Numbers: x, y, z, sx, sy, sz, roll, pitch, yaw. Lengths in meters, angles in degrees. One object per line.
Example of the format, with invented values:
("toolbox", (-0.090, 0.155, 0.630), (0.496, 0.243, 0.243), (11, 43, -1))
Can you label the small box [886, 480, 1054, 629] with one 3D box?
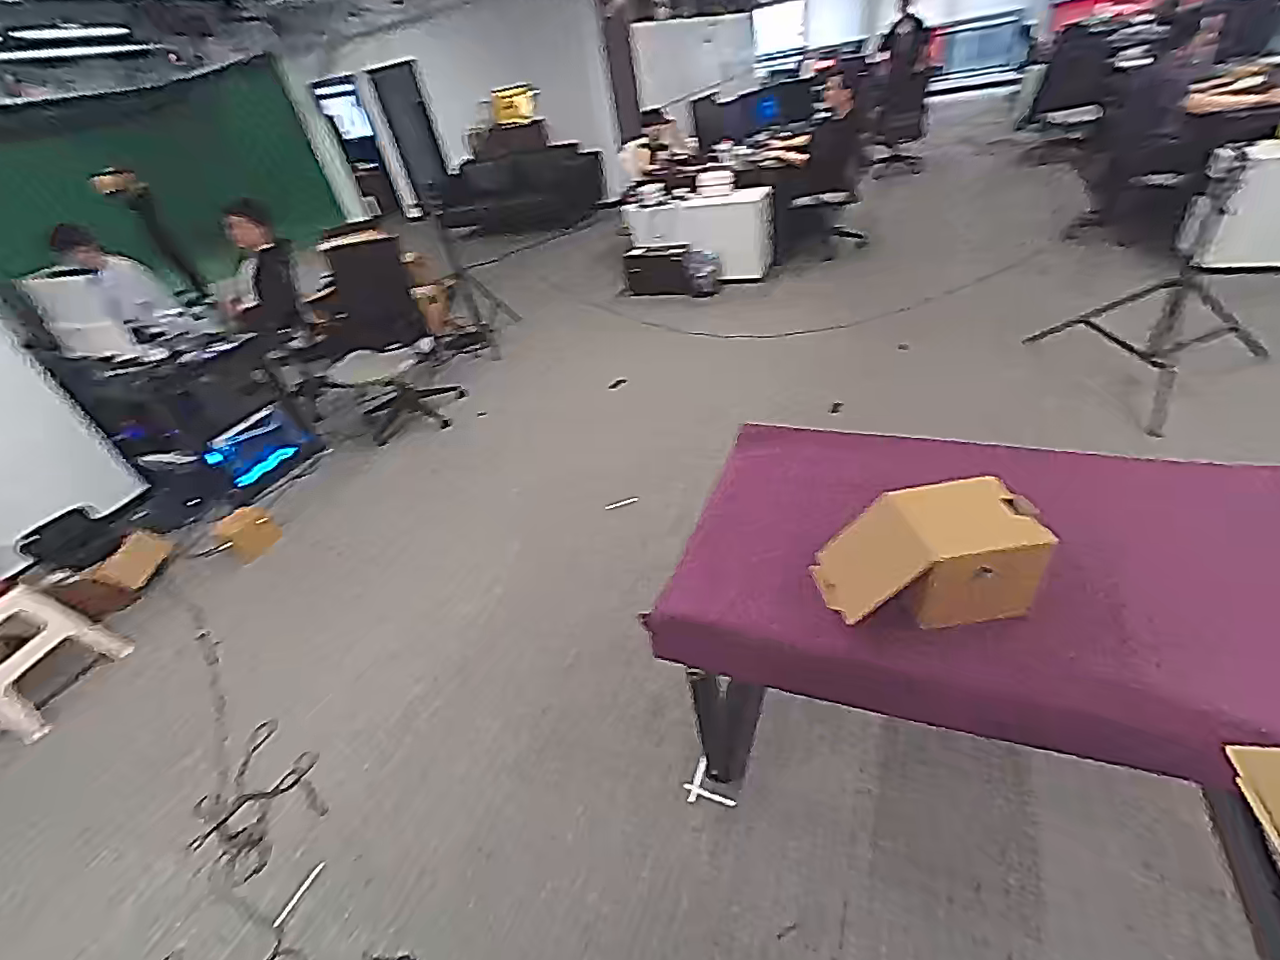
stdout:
("small box", (0.522, 0.125, 0.890), (0.179, 0.176, 0.168), (-9, 36, 3))
